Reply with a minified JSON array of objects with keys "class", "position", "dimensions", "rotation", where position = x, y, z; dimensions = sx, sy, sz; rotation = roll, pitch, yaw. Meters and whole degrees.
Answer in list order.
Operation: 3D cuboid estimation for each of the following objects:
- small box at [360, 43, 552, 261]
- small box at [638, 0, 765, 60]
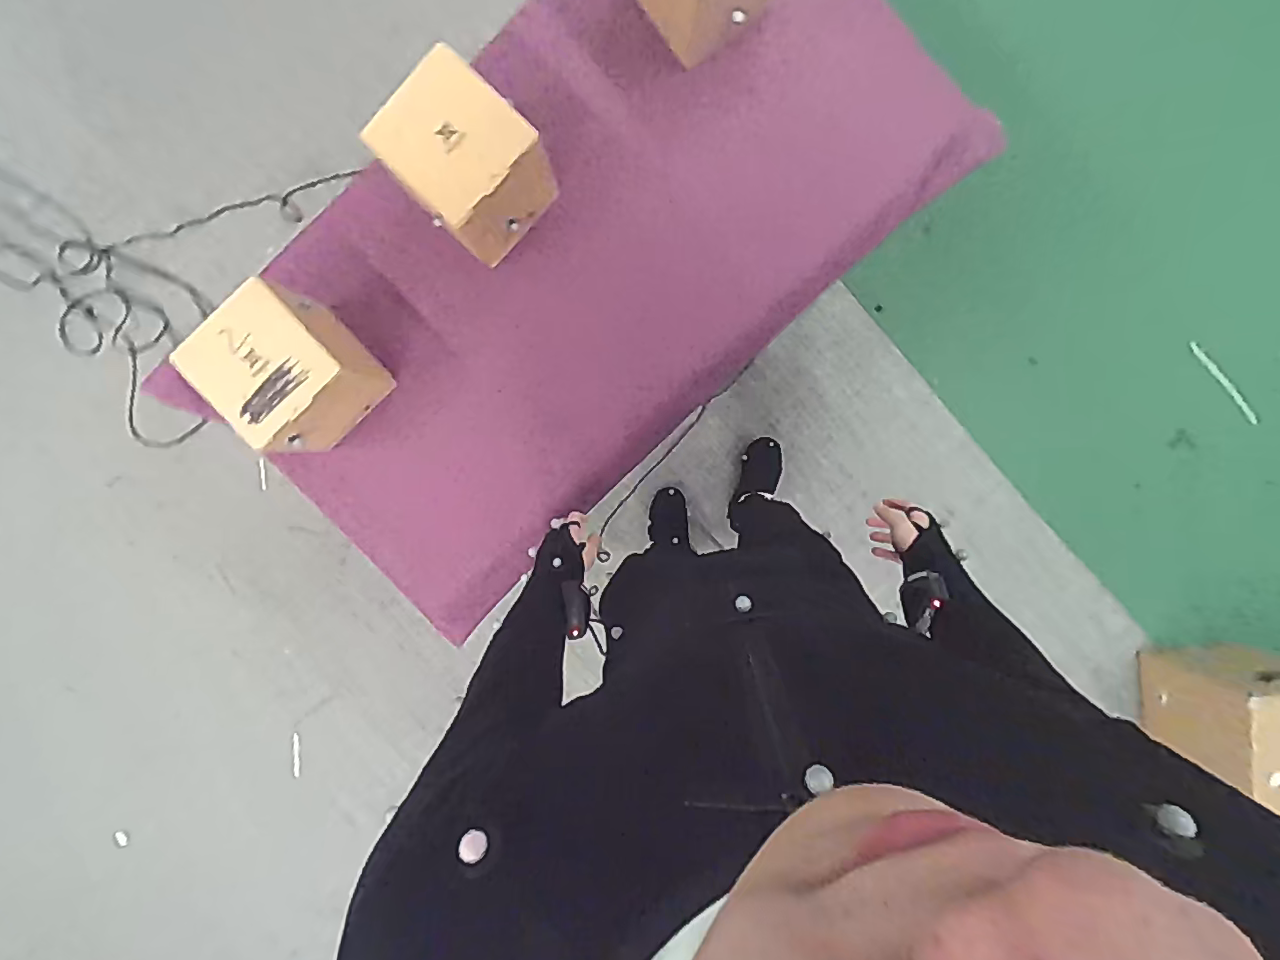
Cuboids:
[{"class":"small box","position":[-0.251,-0.455,0.785],"dimensions":[0.179,0.176,0.168],"rotation":[42,93,-4]},{"class":"small box","position":[0.082,-0.759,0.760],"dimensions":[0.168,0.176,0.179],"rotation":[-37,94,3]}]
